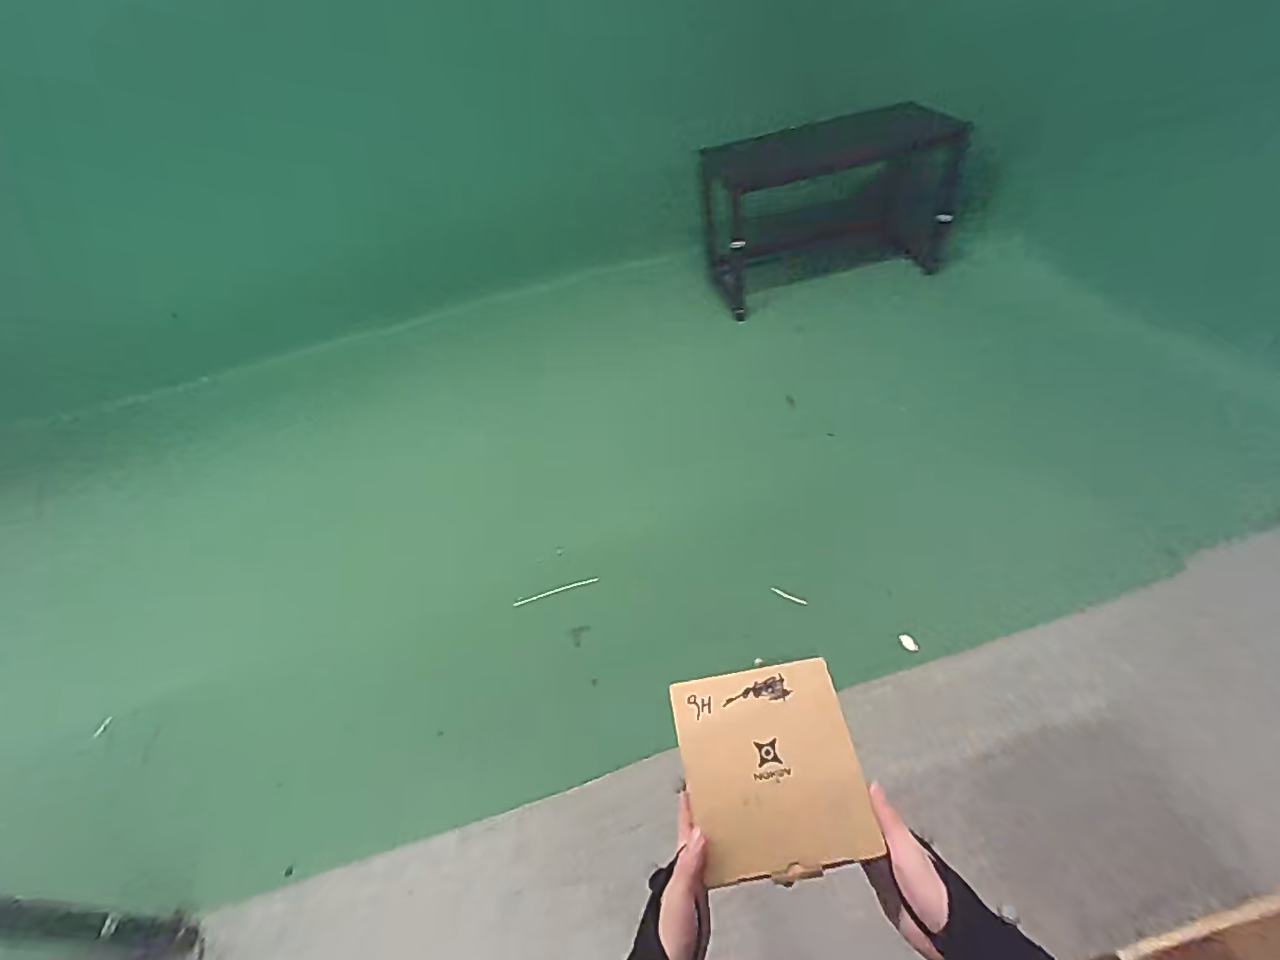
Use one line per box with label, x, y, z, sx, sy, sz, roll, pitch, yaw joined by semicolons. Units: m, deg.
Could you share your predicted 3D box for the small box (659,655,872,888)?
small box;0.121;0.308;0.584;0.168;0.176;0.179;-12;59;0
